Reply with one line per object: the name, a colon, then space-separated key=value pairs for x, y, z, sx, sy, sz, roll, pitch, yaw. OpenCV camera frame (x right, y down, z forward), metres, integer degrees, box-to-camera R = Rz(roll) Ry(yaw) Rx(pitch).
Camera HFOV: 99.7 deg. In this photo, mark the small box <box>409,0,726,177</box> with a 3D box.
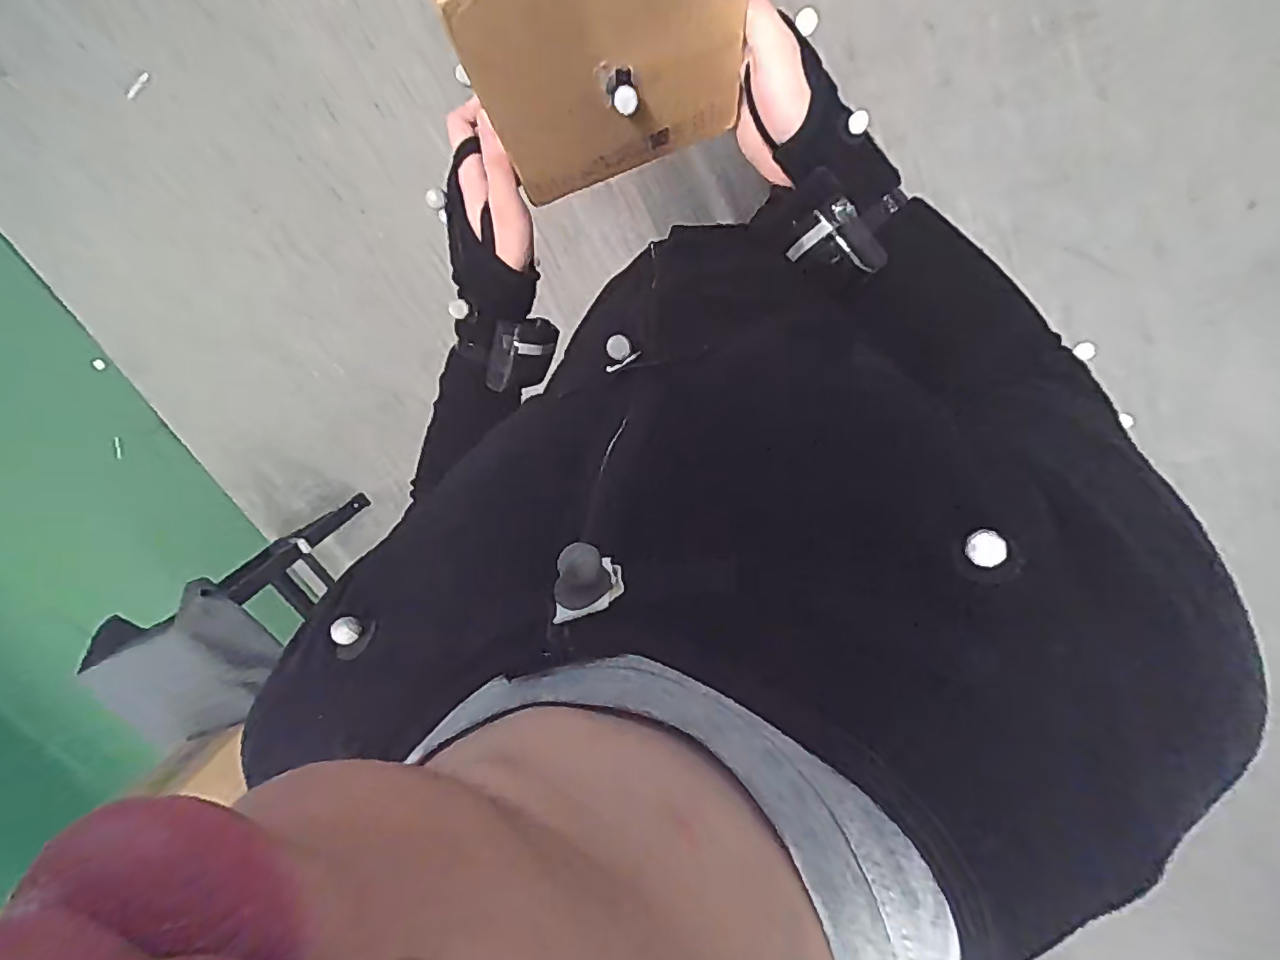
small box: x=-0.049 y=-0.322 z=0.328 sx=0.168 sy=0.176 sz=0.179 roll=-20 pitch=84 yaw=4
